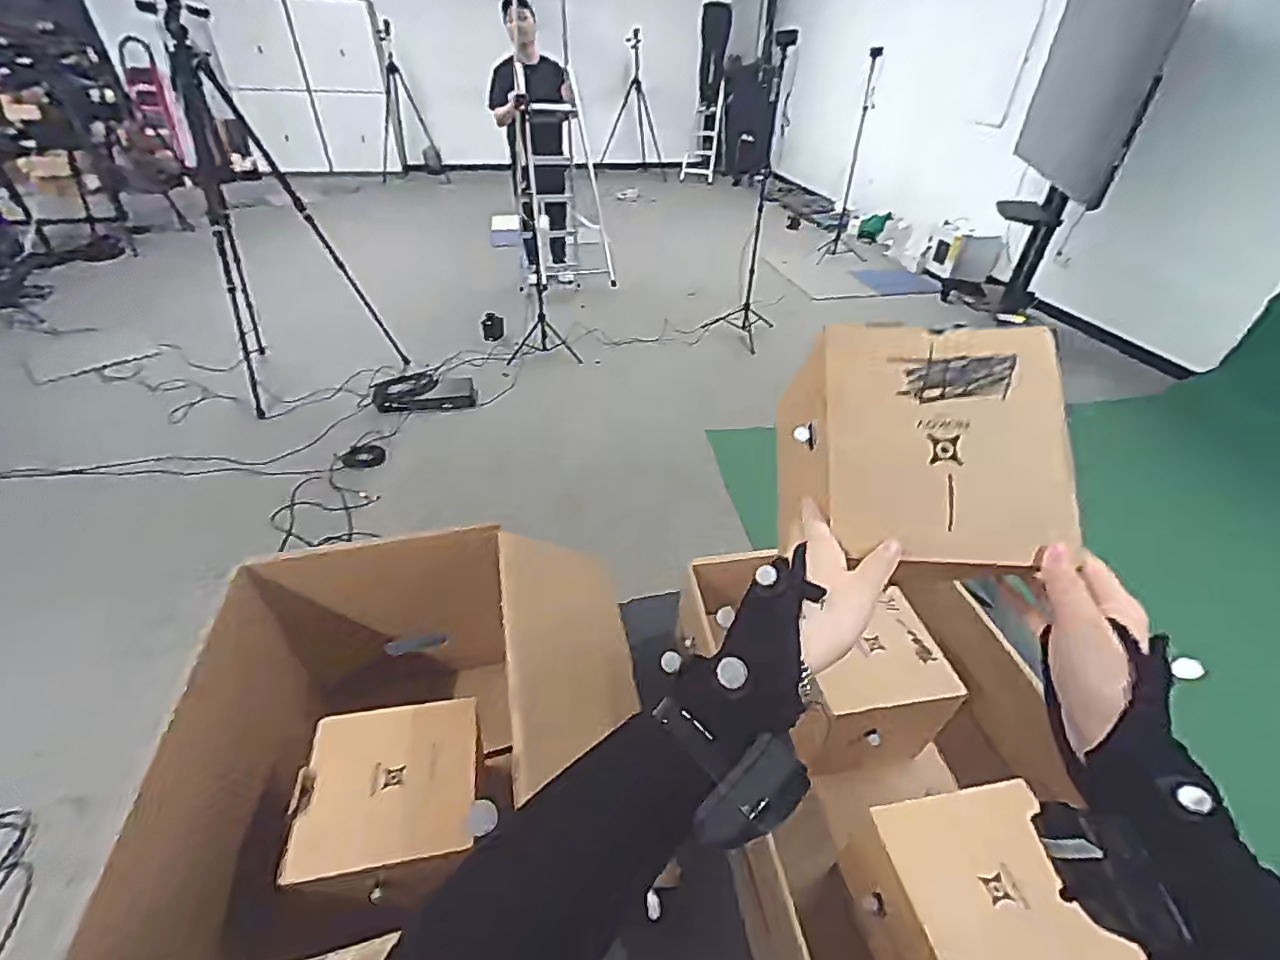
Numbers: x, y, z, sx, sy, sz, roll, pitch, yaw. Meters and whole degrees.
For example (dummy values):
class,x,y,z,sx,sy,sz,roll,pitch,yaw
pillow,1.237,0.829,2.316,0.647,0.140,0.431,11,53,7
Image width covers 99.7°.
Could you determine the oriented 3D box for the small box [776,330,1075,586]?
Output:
class,x,y,z,sx,sy,sz,roll,pitch,yaw
small box,0.214,-0.005,0.456,0.168,0.176,0.179,3,79,3
